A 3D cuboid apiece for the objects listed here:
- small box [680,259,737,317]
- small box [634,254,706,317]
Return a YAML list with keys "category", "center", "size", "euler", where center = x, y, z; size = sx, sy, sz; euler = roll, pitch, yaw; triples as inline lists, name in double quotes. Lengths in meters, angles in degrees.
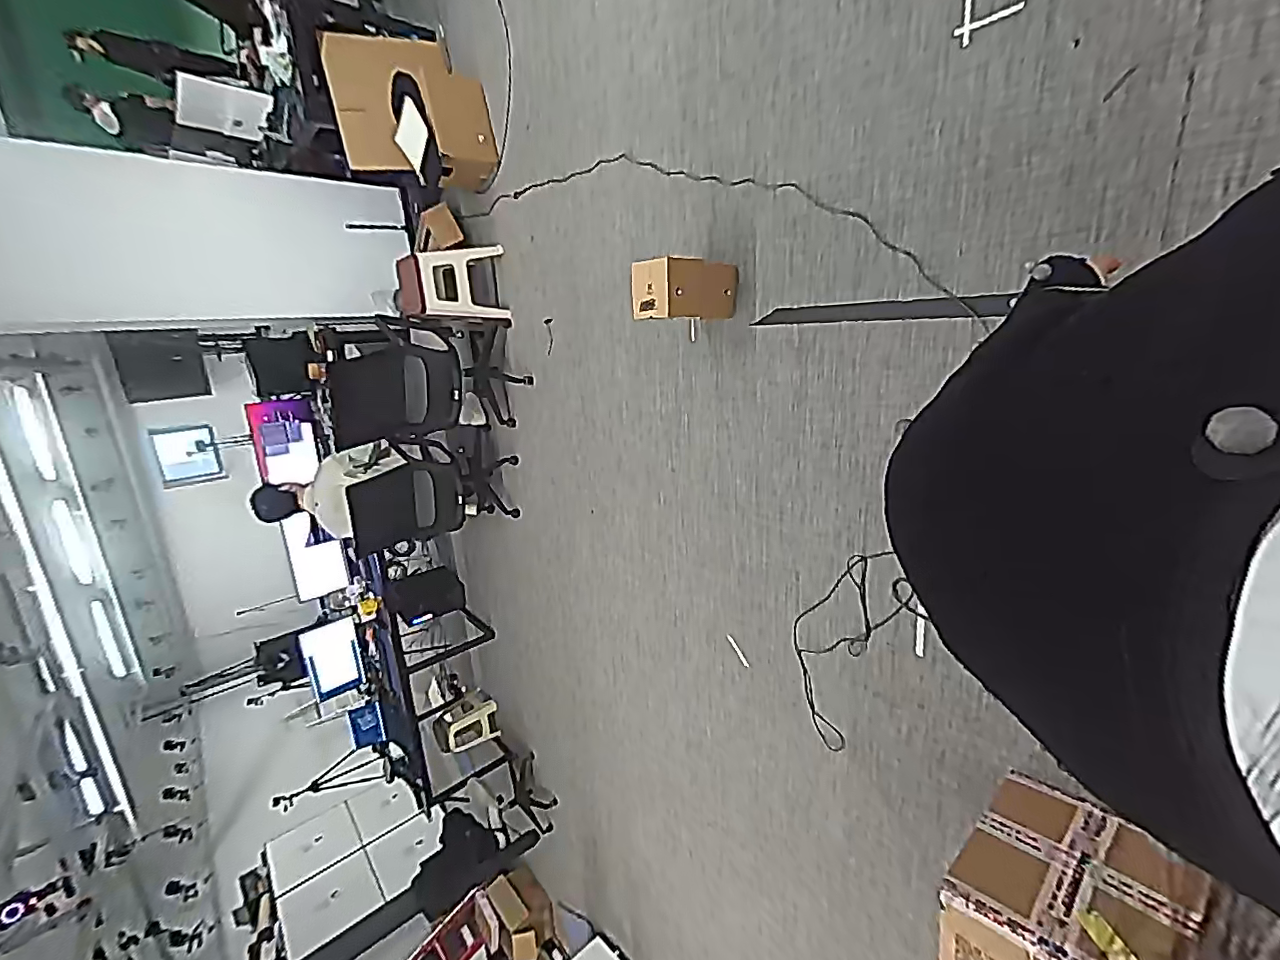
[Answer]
- category: "small box"
  center: [0.214, -0.654, 1.846]
  size: [0.168, 0.176, 0.179]
  euler: [23, 119, 44]
- category: "small box"
  center: [0.099, -0.620, 1.731]
  size: [0.168, 0.176, 0.179]
  euler: [16, 114, 47]
